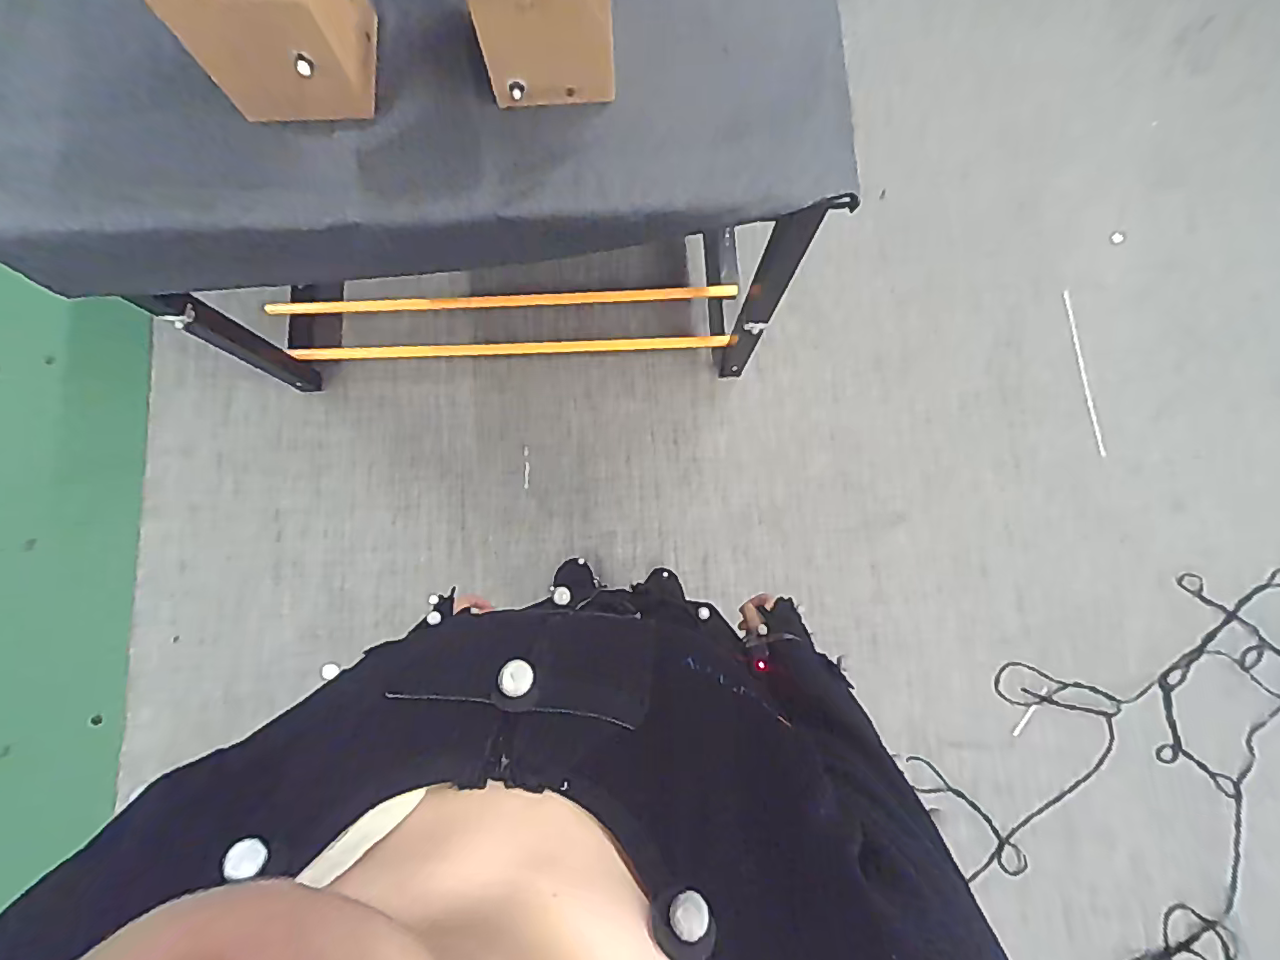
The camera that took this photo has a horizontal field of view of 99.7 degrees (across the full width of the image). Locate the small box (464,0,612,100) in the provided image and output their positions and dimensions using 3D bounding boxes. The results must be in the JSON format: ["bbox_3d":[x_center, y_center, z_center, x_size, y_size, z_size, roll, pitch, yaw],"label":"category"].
[{"bbox_3d":[-0.125,-0.625,0.695,0.168,0.176,0.179,-4,80,-2],"label":"small box"}]

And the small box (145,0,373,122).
[{"bbox_3d":[-0.461,-0.590,0.685,0.179,0.176,0.168,-3,79,-1],"label":"small box"}]
